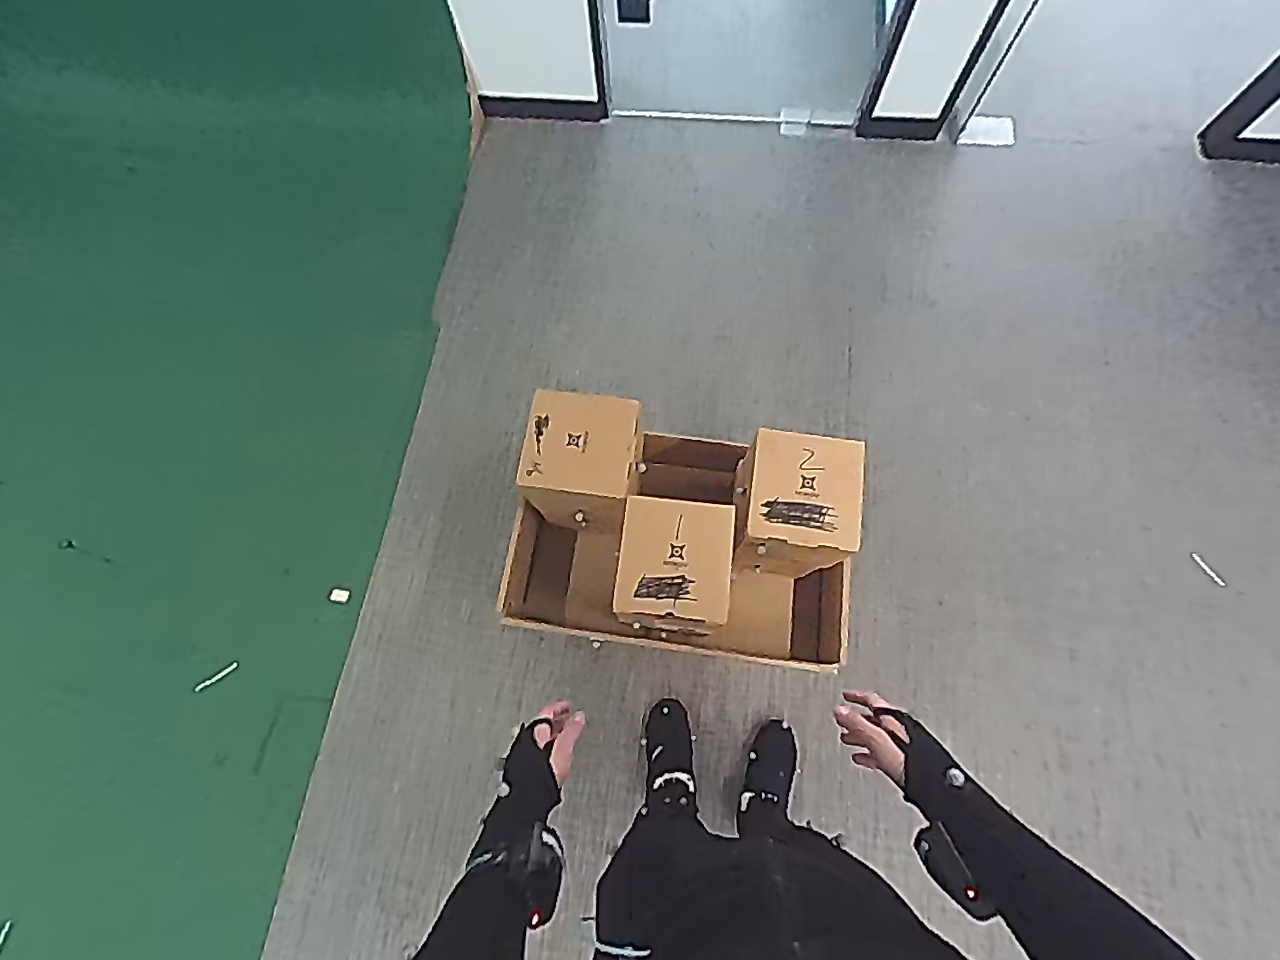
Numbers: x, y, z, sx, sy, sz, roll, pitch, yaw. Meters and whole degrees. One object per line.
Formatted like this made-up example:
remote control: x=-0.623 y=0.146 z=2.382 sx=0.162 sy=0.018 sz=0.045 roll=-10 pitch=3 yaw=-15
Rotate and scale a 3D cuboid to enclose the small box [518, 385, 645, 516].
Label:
small box: x=-0.090 y=-0.041 z=0.923 sx=0.179 sy=0.176 sz=0.168 roll=8 pitch=73 yaw=3
